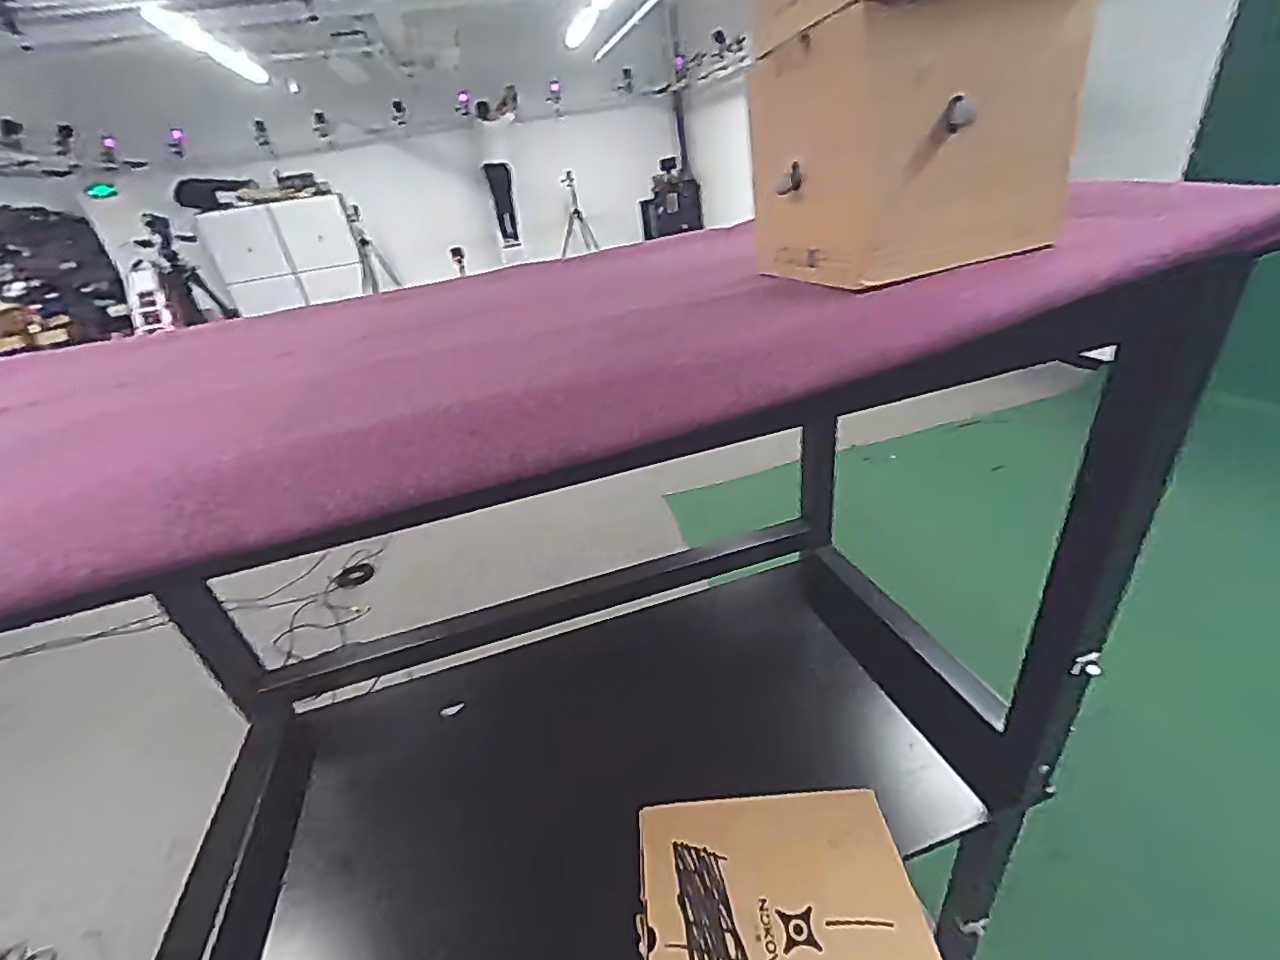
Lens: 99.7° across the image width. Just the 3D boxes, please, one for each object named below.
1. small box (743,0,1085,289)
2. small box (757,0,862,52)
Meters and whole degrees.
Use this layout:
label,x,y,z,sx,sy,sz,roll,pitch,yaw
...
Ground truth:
label,x,y,z,sx,sy,sz,roll,pitch,yaw
small box,0.202,-0.260,0.432,0.179,0.176,0.168,-16,28,-8
small box,0.179,-0.397,0.345,0.179,0.176,0.168,-15,28,-9
